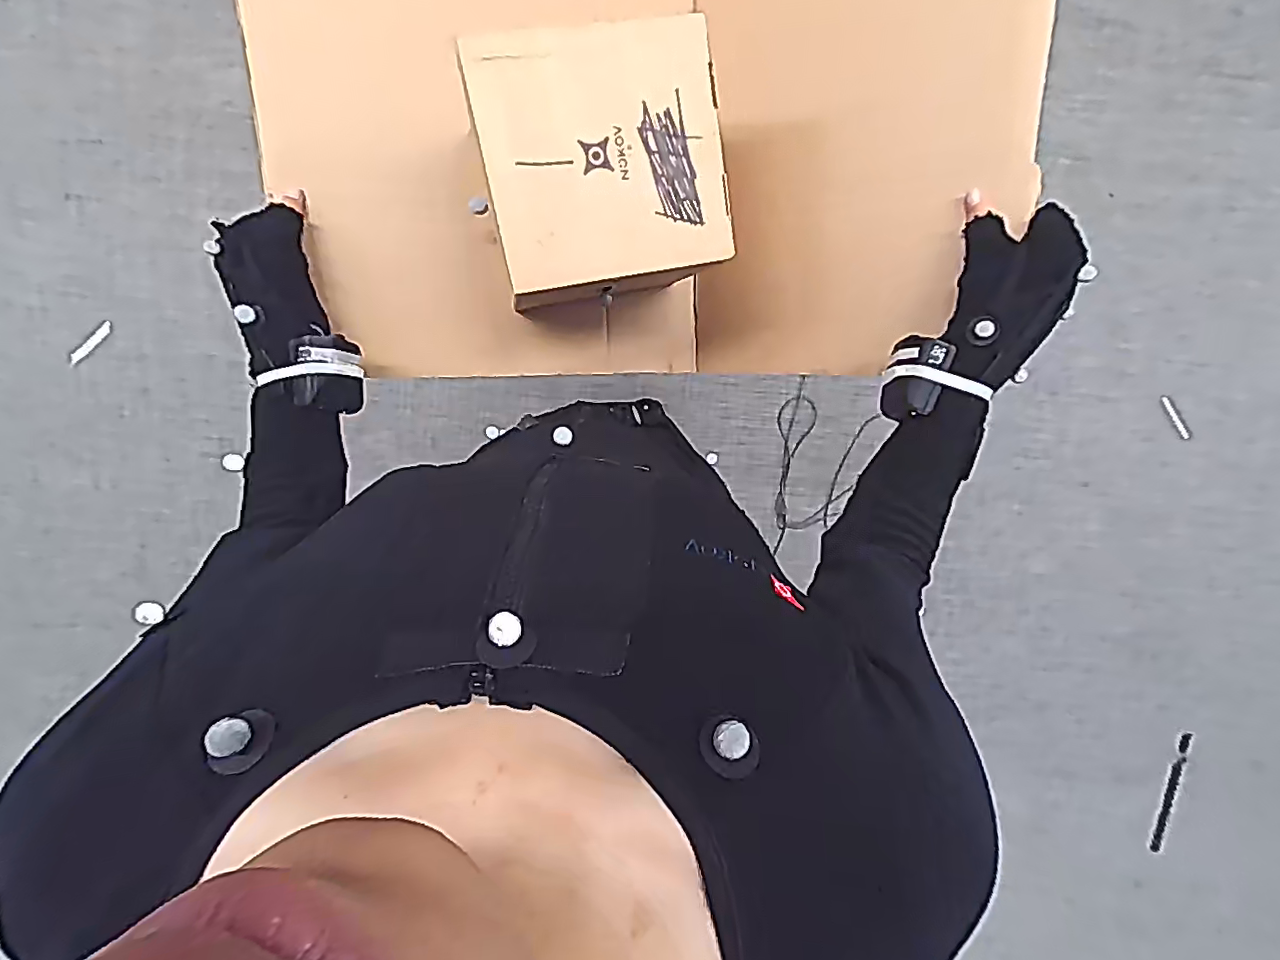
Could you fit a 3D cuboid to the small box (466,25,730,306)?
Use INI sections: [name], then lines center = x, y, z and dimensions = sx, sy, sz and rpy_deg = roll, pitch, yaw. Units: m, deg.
[small box]
center = -0.040, -0.253, 0.473
dimensions = 0.179, 0.176, 0.168
rpy_deg = -13, 106, -9
